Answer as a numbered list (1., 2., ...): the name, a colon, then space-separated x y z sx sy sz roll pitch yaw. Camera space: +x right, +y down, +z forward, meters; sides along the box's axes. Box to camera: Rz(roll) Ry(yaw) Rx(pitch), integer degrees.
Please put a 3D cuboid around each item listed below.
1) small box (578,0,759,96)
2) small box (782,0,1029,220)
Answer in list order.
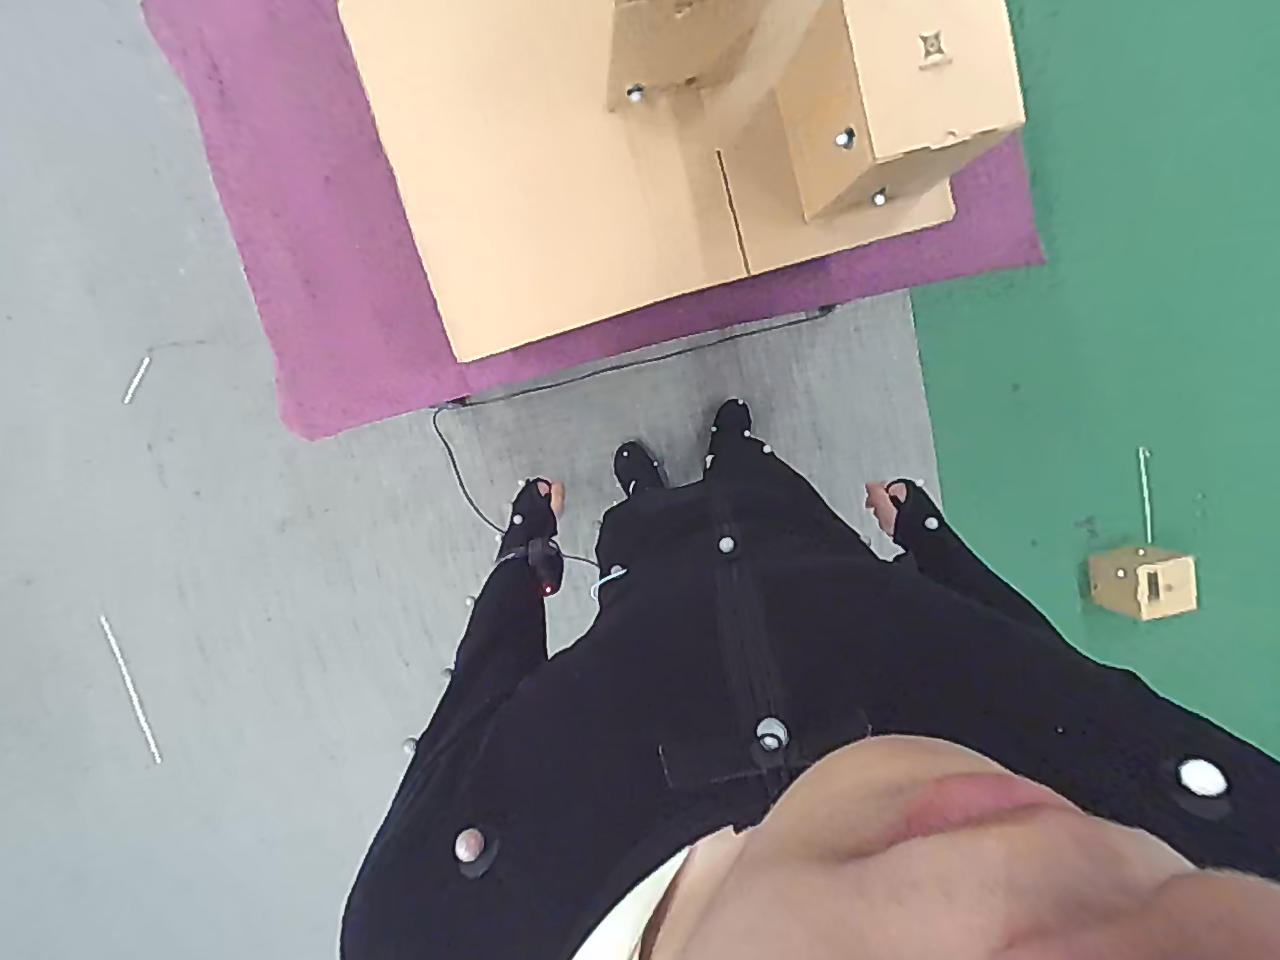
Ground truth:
1. small box: 0.023 -0.535 0.555 0.168 0.176 0.179 -17 97 -5
2. small box: 0.275 -0.421 0.596 0.168 0.176 0.179 -17 98 -4
